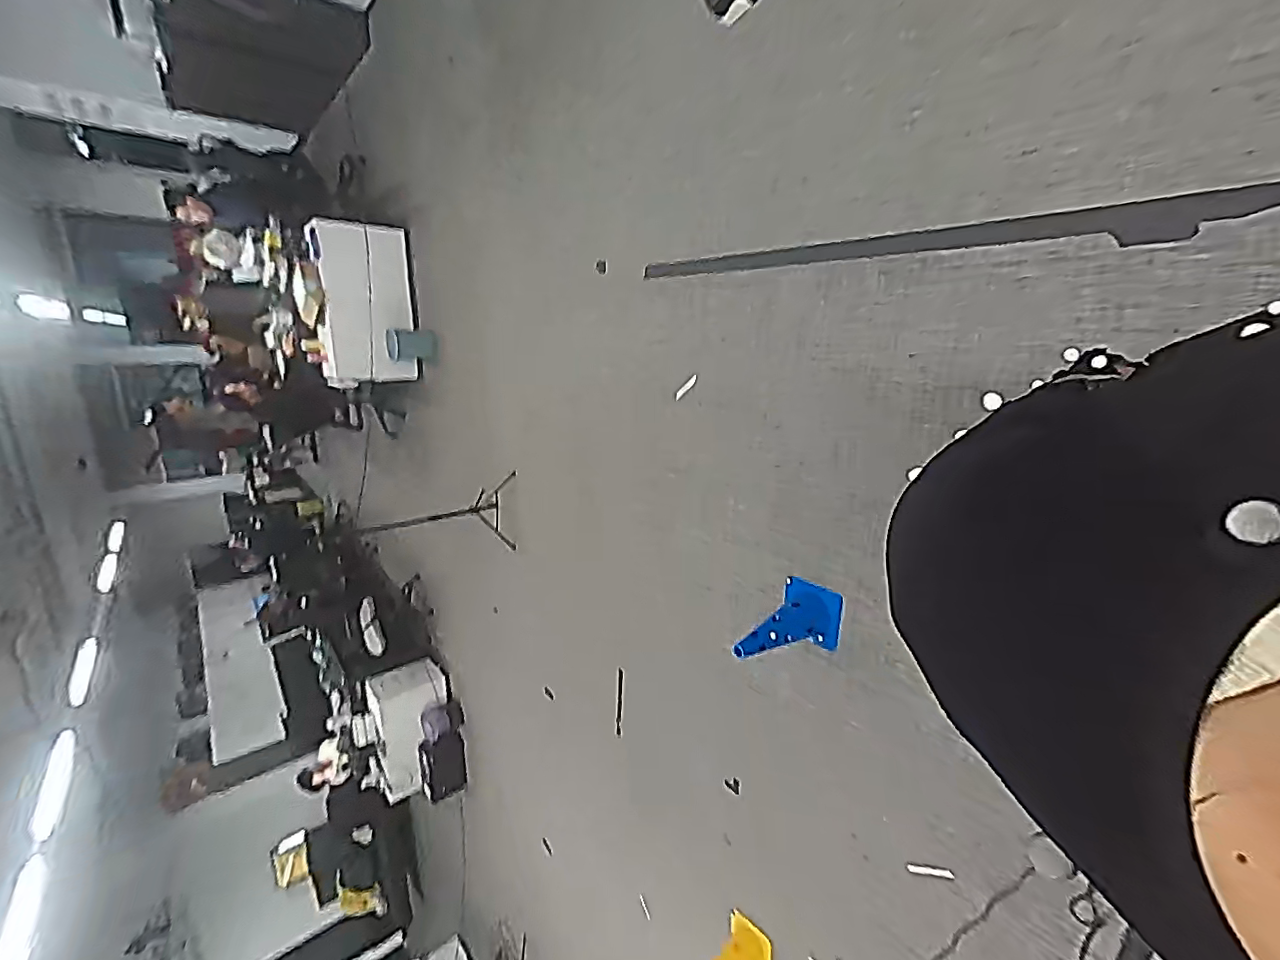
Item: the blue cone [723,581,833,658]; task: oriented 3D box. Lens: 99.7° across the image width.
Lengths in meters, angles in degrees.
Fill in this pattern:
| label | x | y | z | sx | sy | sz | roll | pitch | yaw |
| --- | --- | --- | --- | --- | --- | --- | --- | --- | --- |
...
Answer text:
| label | x | y | z | sx | sy | sz | roll | pitch | yaw |
| --- | --- | --- | --- | --- | --- | --- | --- | --- | --- |
| blue cone | 0.395 | 0.455 | 1.616 | 0.192 | 0.380 | 0.193 | 21 | 115 | 48 |
